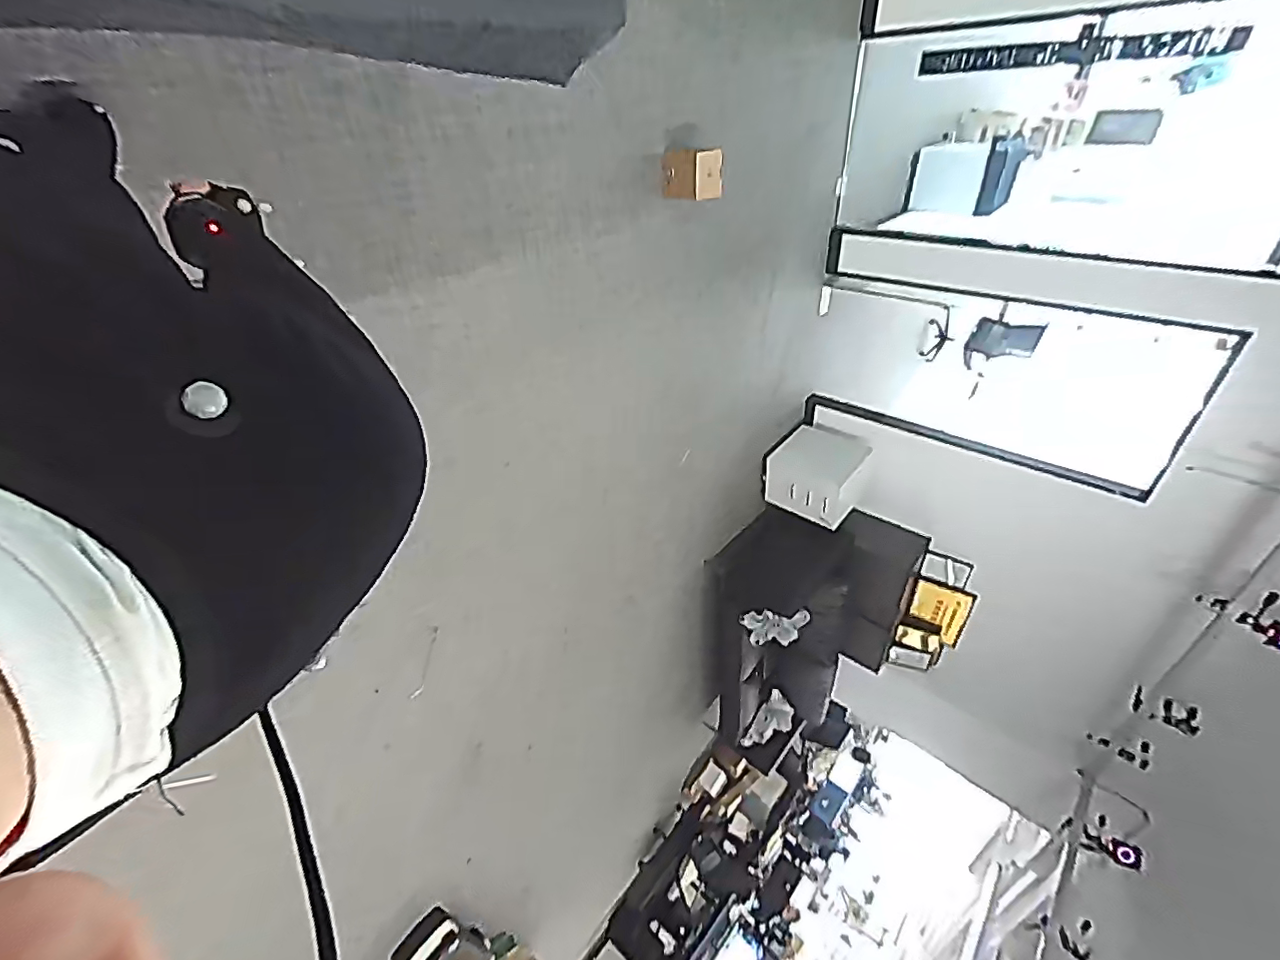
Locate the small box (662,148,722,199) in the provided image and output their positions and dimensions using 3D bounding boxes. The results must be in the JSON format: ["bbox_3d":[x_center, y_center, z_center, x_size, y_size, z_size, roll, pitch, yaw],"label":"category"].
[{"bbox_3d":[0.206,-1.229,2.161,0.179,0.176,0.168,-32,133,-38],"label":"small box"}]
